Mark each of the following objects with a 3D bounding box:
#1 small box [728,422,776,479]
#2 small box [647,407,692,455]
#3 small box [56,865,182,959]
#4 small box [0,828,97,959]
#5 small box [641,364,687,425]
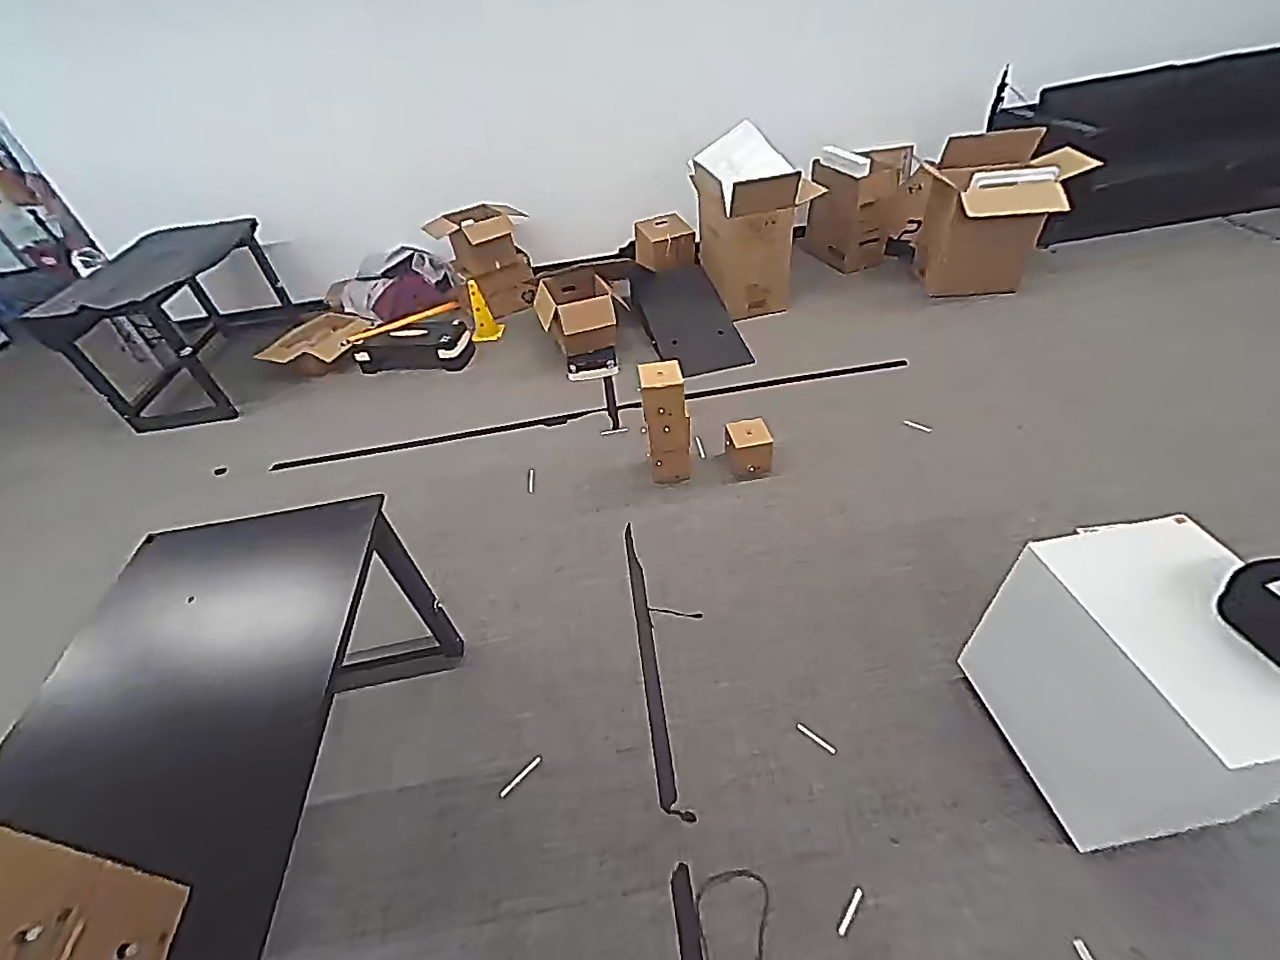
[{"bbox_3d":[0.489,-0.130,2.389,0.168,0.176,0.179,-11,44,-2],"label":"small box"},{"bbox_3d":[0.122,-0.223,2.293,0.179,0.176,0.168,-8,42,-3],"label":"small box"},{"bbox_3d":[-0.742,0.614,0.678,0.179,0.176,0.168,-10,42,-4],"label":"small box"},{"bbox_3d":[-0.760,0.493,0.567,0.179,0.176,0.168,-10,43,-3],"label":"small box"},{"bbox_3d":[0.096,-0.345,2.188,0.168,0.176,0.179,-7,43,-1],"label":"small box"}]
